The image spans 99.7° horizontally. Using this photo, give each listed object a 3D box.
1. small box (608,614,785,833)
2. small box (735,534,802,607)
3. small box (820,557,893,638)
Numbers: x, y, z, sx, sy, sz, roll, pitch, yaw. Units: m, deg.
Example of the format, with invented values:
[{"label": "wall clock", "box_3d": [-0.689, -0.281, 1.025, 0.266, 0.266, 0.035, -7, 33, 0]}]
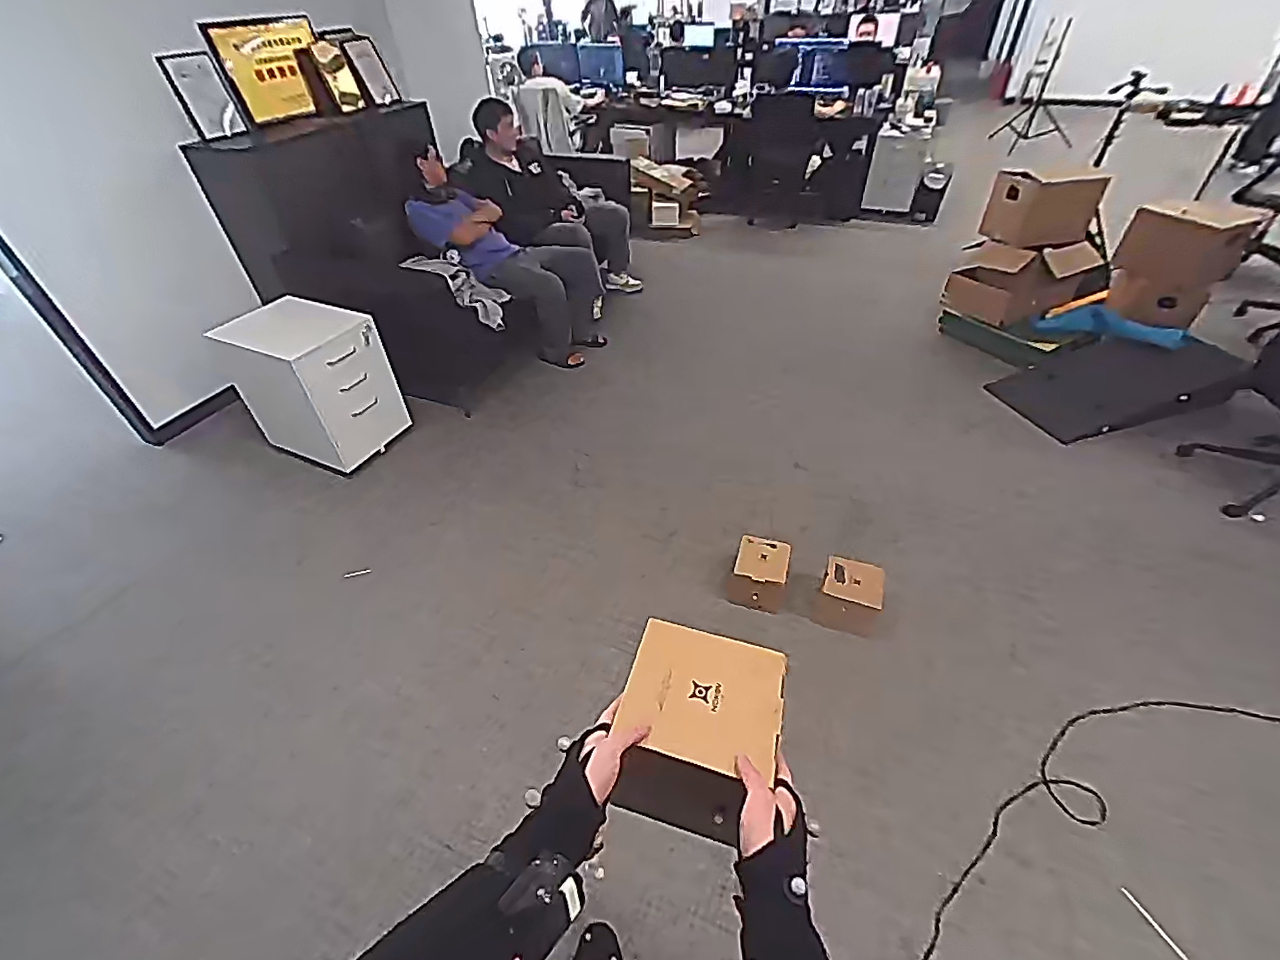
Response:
[{"label": "small box", "box_3d": [0.070, 0.300, 0.669, 0.179, 0.176, 0.168, 11, 37, 14]}, {"label": "small box", "box_3d": [0.432, 0.311, 1.842, 0.179, 0.176, 0.168, -10, 40, -5]}, {"label": "small box", "box_3d": [0.696, 0.383, 1.751, 0.179, 0.176, 0.168, 17, 48, 22]}]
